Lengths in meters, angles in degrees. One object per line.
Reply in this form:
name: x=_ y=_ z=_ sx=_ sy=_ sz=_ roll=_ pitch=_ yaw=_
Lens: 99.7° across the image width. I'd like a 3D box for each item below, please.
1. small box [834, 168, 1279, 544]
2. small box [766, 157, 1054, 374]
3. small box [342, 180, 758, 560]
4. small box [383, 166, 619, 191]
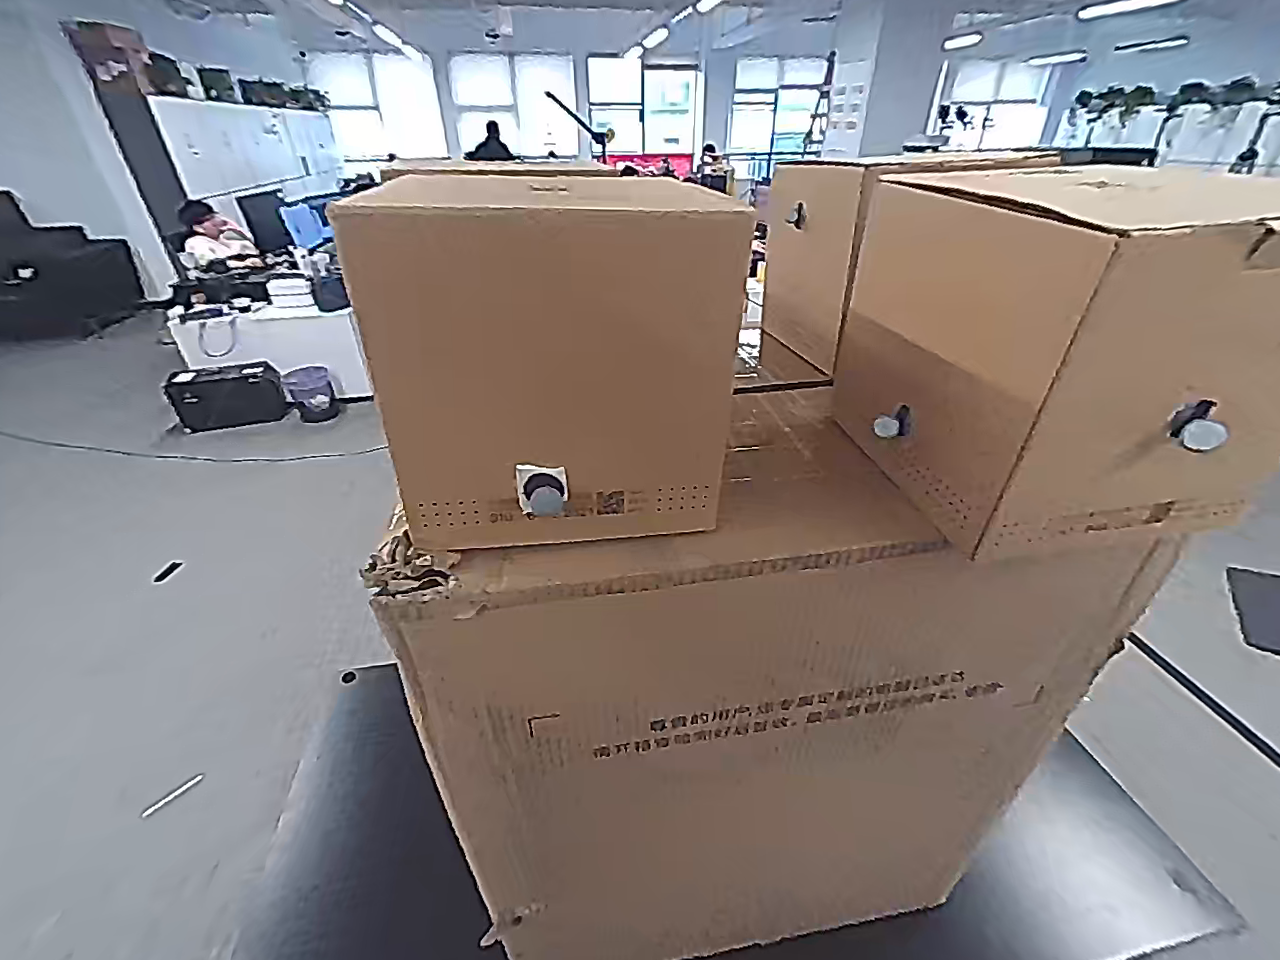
small box: x=0.240 y=-0.076 z=0.322 sx=0.168 sy=0.176 sz=0.179 roll=-7 pitch=36 yaw=-7
small box: x=0.231 y=-0.208 z=0.520 sx=0.168 sy=0.176 sz=0.179 roll=-8 pitch=31 yaw=-8
small box: x=-0.047 y=-0.075 z=0.322 sx=0.168 sy=0.176 sz=0.179 roll=-5 pitch=34 yaw=-9
small box: x=-0.117 y=-0.182 z=0.487 sx=0.168 sy=0.176 sz=0.179 roll=-8 pitch=32 yaw=-14
